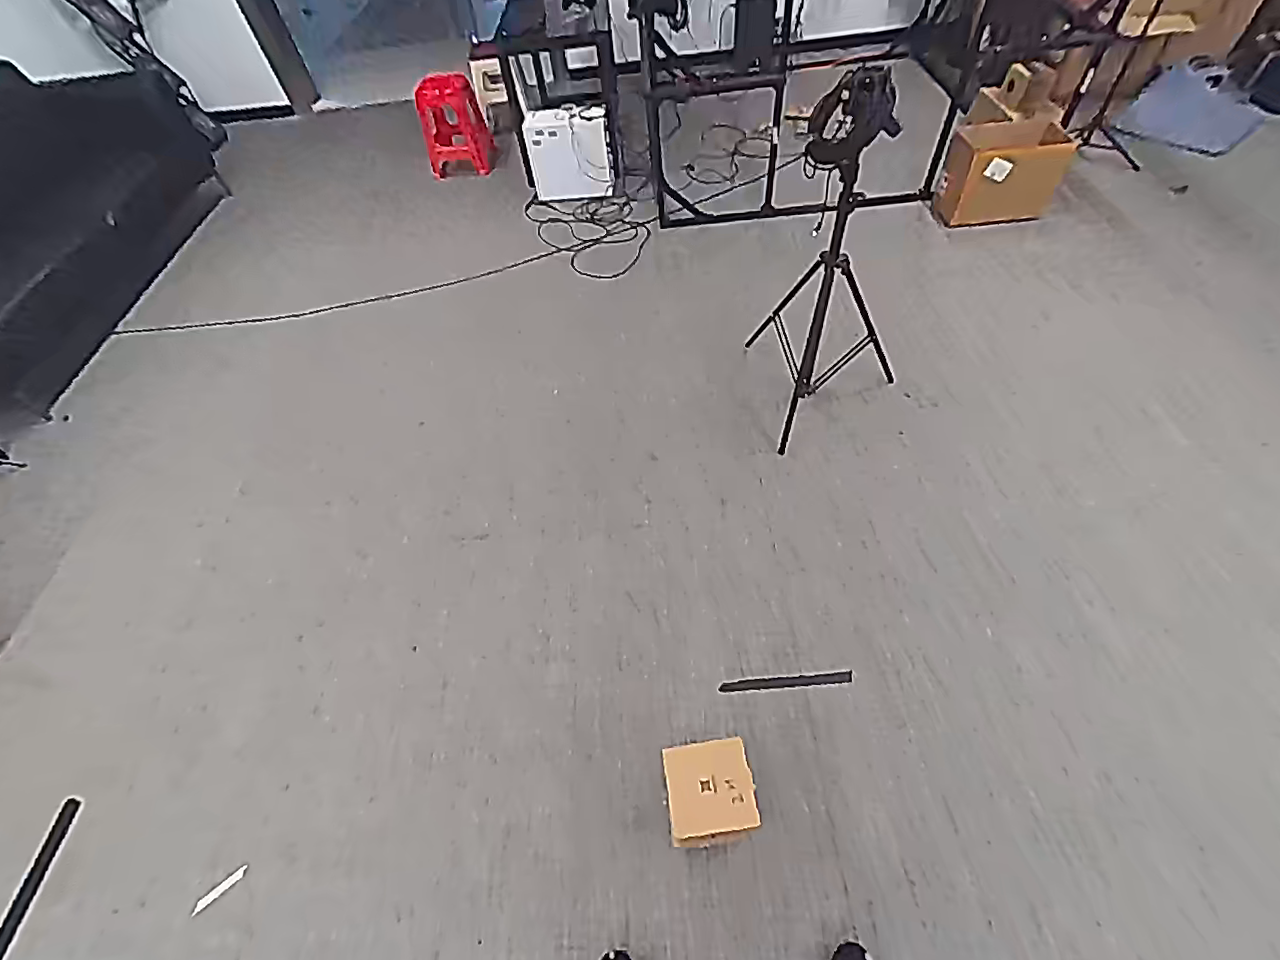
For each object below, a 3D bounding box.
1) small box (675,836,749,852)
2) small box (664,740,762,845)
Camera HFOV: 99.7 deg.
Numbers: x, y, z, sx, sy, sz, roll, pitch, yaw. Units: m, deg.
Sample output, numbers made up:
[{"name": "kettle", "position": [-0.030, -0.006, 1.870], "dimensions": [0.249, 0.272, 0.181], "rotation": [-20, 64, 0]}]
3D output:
[{"name": "small box", "position": [0.158, 0.776, 1.293], "dimensions": [0.168, 0.176, 0.179], "rotation": [-8, 54, 2]}, {"name": "small box", "position": [0.154, 0.675, 1.163], "dimensions": [0.179, 0.176, 0.168], "rotation": [-9, 53, 1]}]
